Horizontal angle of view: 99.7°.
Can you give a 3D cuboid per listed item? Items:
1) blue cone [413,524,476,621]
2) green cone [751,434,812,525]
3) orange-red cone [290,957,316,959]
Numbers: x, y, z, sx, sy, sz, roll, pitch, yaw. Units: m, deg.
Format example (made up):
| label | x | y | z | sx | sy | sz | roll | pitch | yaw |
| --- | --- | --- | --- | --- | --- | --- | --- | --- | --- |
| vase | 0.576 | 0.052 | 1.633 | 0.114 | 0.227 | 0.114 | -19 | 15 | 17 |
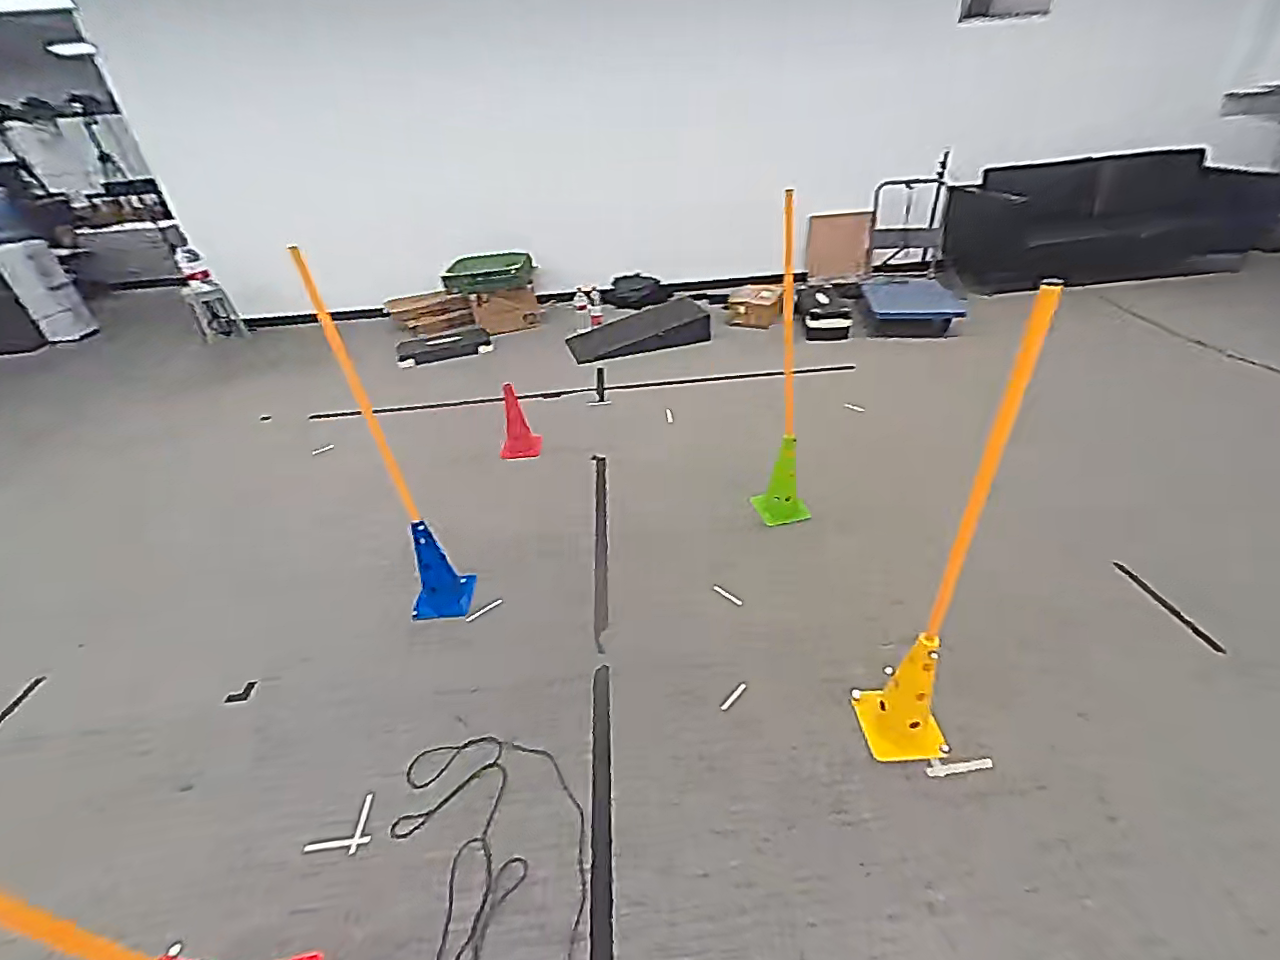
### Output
| label | x | y | z | sx | sy | sz | roll | pitch | yaw |
| --- | --- | --- | --- | --- | --- | --- | --- | --- | --- |
| blue cone | -0.709 | 0.299 | 1.867 | 0.193 | 0.380 | 0.192 | -4 | 35 | 1 |
| green cone | 0.581 | -0.025 | 2.171 | 0.200 | 0.368 | 0.202 | -12 | 37 | -10 |
| orange-red cone | -0.750 | 0.917 | 0.944 | 0.199 | 0.360 | 0.198 | -7 | 35 | -6 |
